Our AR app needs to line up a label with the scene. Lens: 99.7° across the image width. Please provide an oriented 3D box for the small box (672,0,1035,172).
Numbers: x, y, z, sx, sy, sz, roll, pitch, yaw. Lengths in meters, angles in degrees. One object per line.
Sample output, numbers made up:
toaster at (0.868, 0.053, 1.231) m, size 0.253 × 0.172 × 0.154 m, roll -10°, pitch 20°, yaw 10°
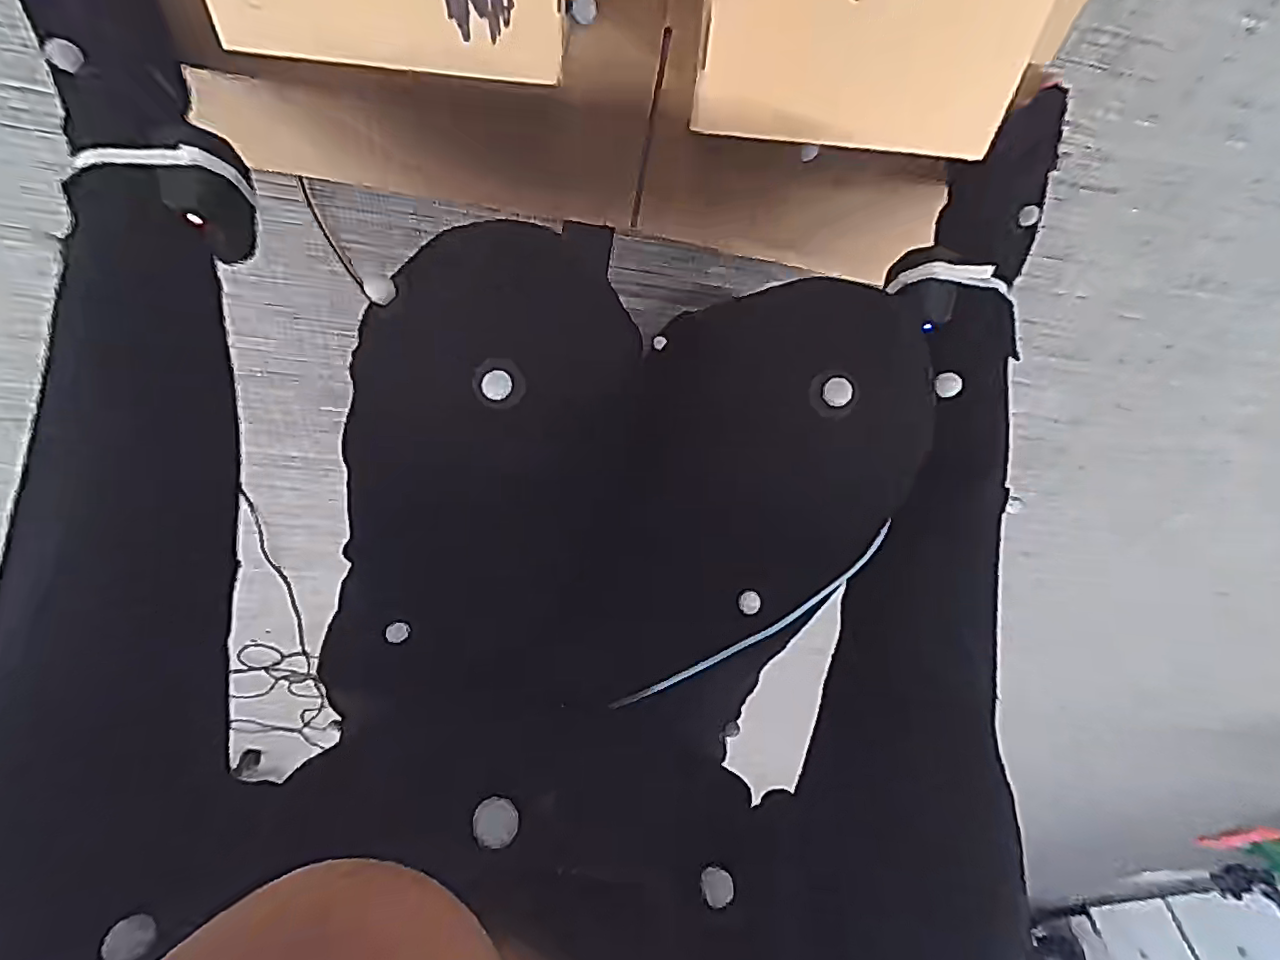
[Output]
small box at (0.118, -0.306, 0.323) m, size 0.179 × 0.176 × 0.168 m, roll 7°, pitch 135°, yaw 2°
